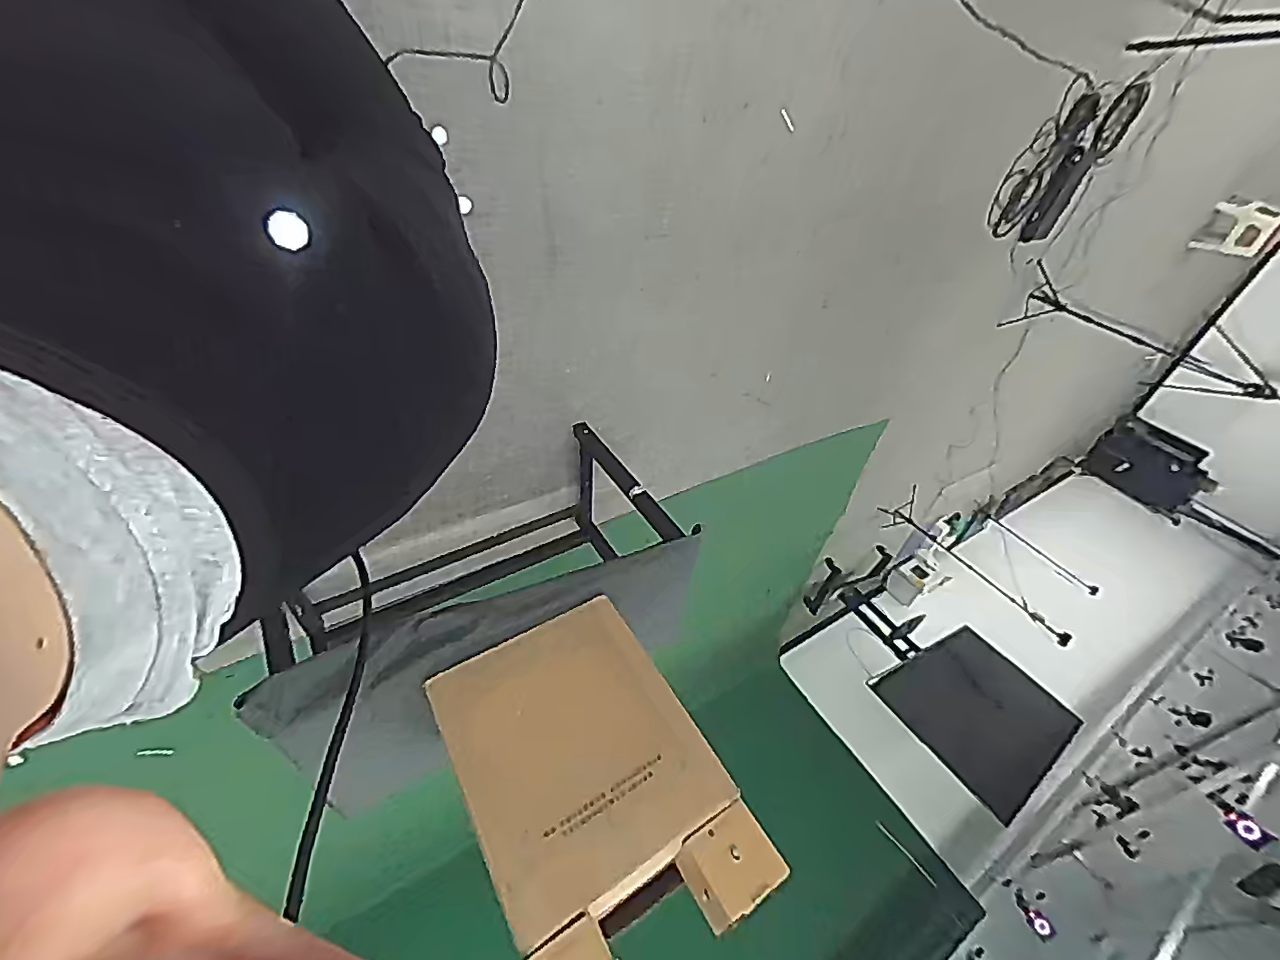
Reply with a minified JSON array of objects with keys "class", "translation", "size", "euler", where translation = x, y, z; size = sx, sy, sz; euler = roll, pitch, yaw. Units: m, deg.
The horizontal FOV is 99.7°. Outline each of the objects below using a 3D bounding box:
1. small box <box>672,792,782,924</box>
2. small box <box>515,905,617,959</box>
[{"class":"small box","translation":[0.190,0.851,1.231],"size":[0.168,0.176,0.179],"euler":[-22,140,-27]},{"class":"small box","translation":[-0.130,0.969,1.051],"size":[0.168,0.176,0.179],"euler":[-25,142,-19]}]
